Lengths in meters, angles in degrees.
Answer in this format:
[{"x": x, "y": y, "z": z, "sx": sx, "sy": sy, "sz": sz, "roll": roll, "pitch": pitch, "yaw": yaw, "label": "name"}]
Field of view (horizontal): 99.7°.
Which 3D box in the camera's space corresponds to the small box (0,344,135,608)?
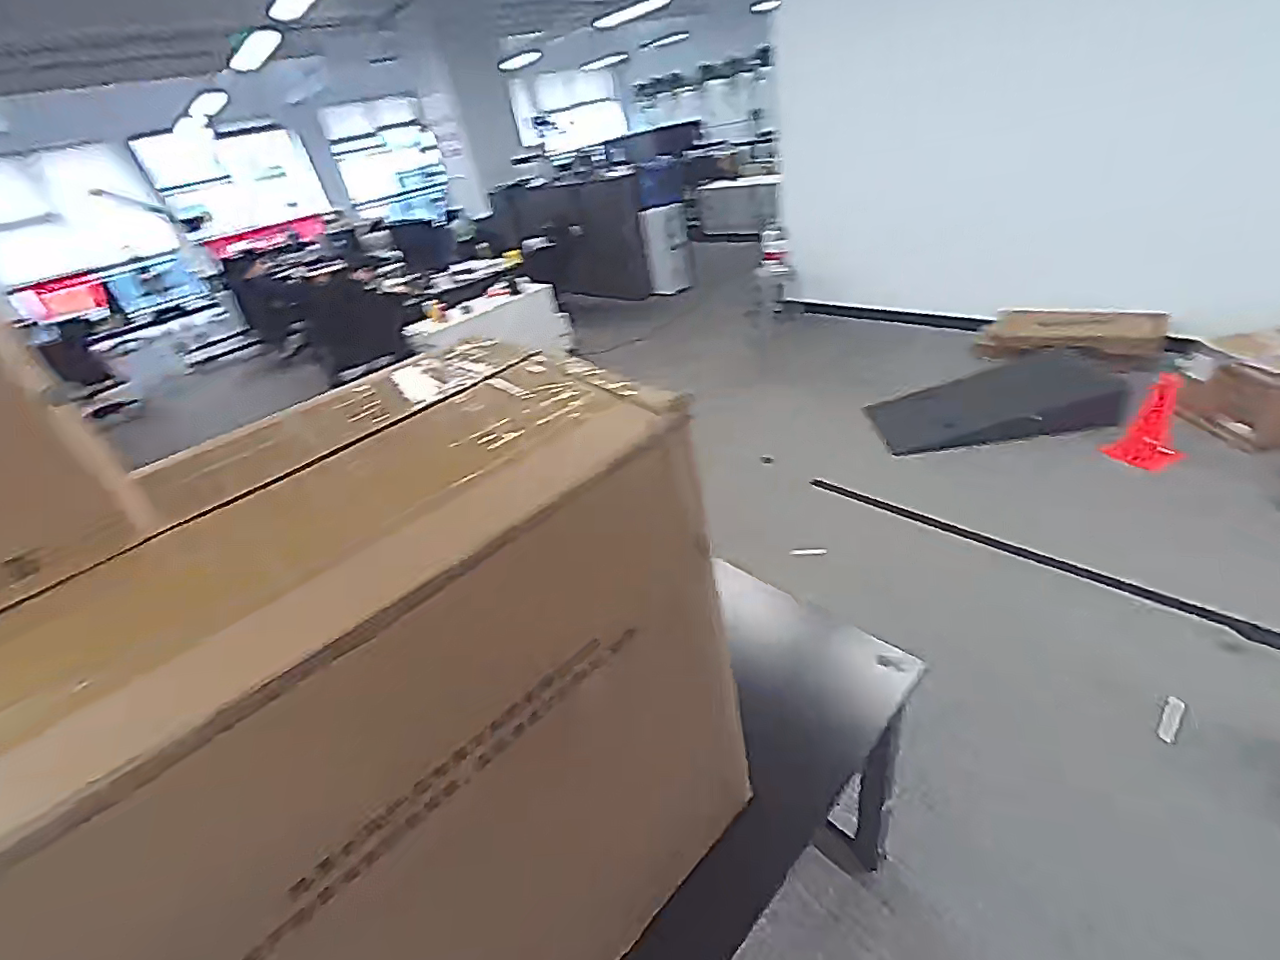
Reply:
[{"x": -0.474, "y": -0.003, "z": 0.345, "sx": 0.179, "sy": 0.176, "sz": 0.168, "roll": 18, "pitch": 44, "yaw": 41, "label": "small box"}]
